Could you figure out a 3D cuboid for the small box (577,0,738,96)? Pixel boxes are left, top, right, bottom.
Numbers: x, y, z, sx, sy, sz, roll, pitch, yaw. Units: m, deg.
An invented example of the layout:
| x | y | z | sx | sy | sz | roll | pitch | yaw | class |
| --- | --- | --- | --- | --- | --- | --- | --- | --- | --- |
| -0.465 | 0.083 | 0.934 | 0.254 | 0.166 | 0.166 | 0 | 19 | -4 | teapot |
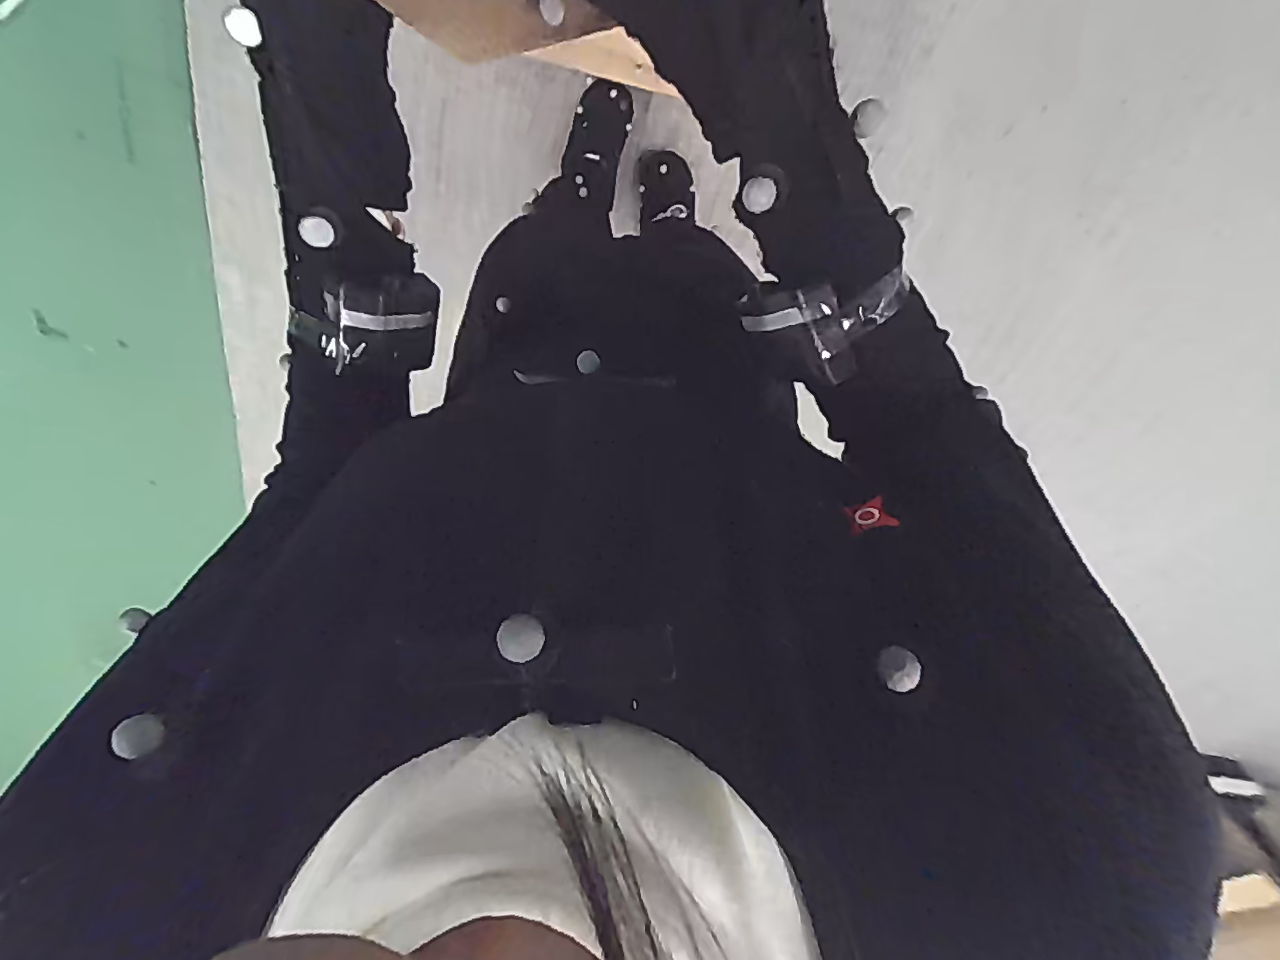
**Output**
| x | y | z | sx | sy | sz | roll | pitch | yaw | class |
| --- | --- | --- | --- | --- | --- | --- | --- | --- | --- |
| 0.033 | -0.626 | 0.698 | 0.179 | 0.176 | 0.168 | 17 | 126 | -7 | small box |
